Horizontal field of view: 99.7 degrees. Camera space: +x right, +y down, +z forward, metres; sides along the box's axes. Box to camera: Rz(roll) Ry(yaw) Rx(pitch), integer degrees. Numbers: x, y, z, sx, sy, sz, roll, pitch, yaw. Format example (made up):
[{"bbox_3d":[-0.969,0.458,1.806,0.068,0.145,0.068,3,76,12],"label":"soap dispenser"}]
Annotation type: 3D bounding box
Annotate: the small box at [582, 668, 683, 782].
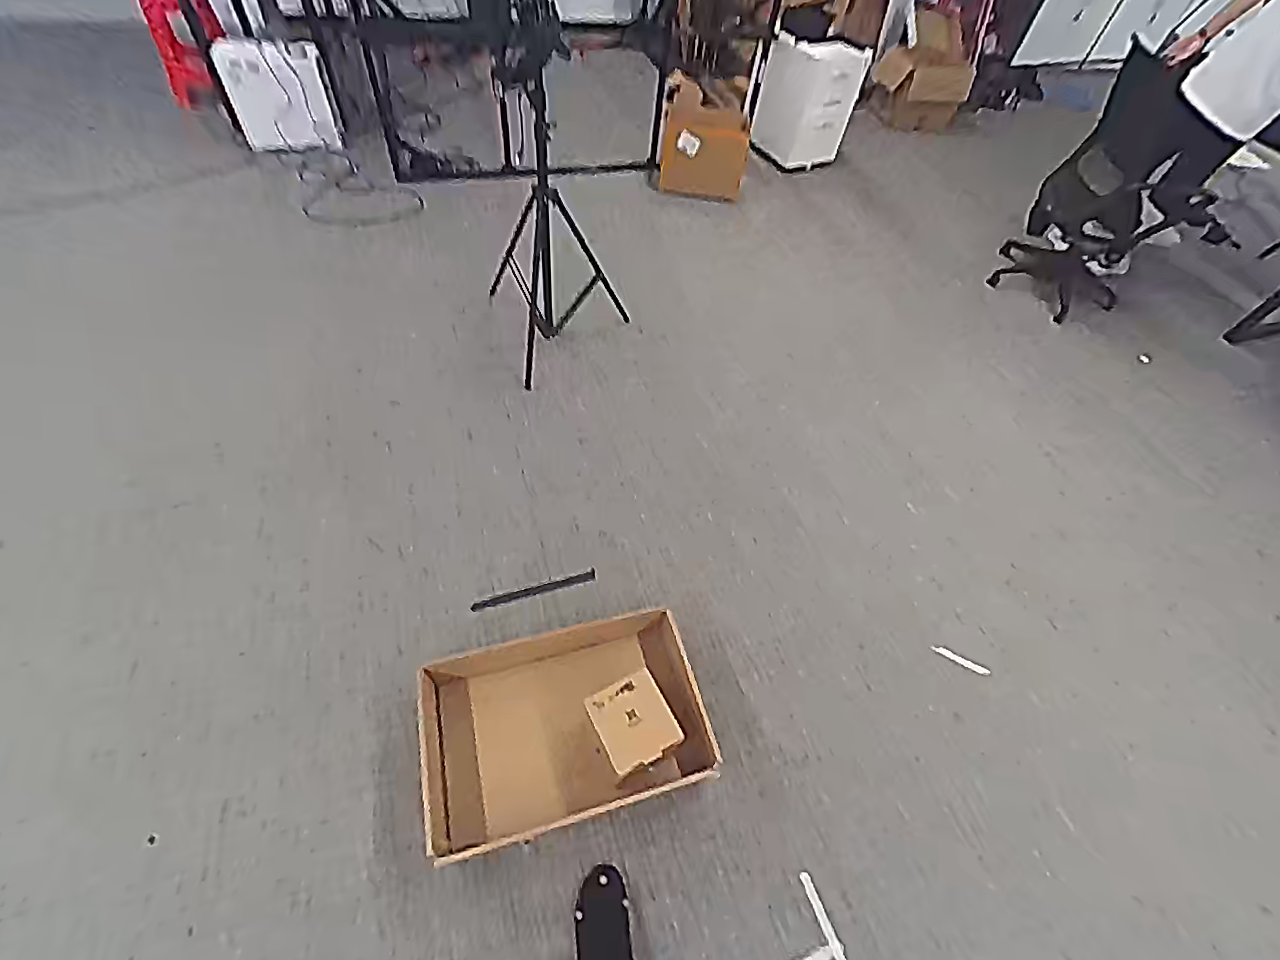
[{"bbox_3d":[-0.023,0.569,1.242,0.168,0.176,0.179,-21,59,-21],"label":"small box"}]
